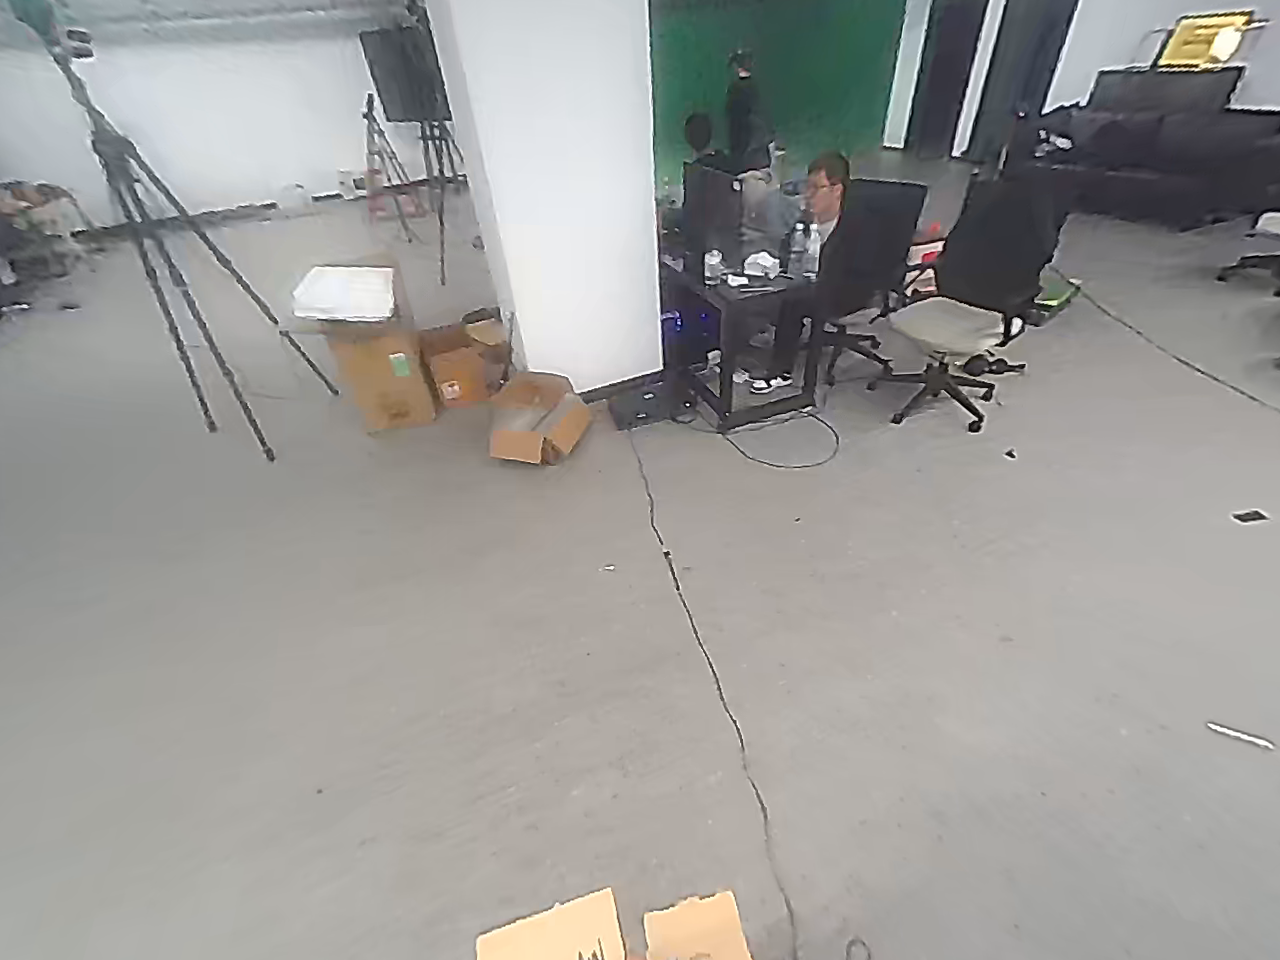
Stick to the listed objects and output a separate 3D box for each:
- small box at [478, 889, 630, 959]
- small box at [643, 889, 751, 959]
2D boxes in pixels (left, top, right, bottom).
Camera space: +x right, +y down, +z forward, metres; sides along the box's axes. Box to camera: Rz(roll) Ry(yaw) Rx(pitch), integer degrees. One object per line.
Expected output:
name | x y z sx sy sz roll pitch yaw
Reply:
small box | -0.093 0.652 0.672 0.179 0.176 0.168 -12 41 -12
small box | 0.105 0.852 0.930 0.168 0.176 0.179 -11 38 -6
